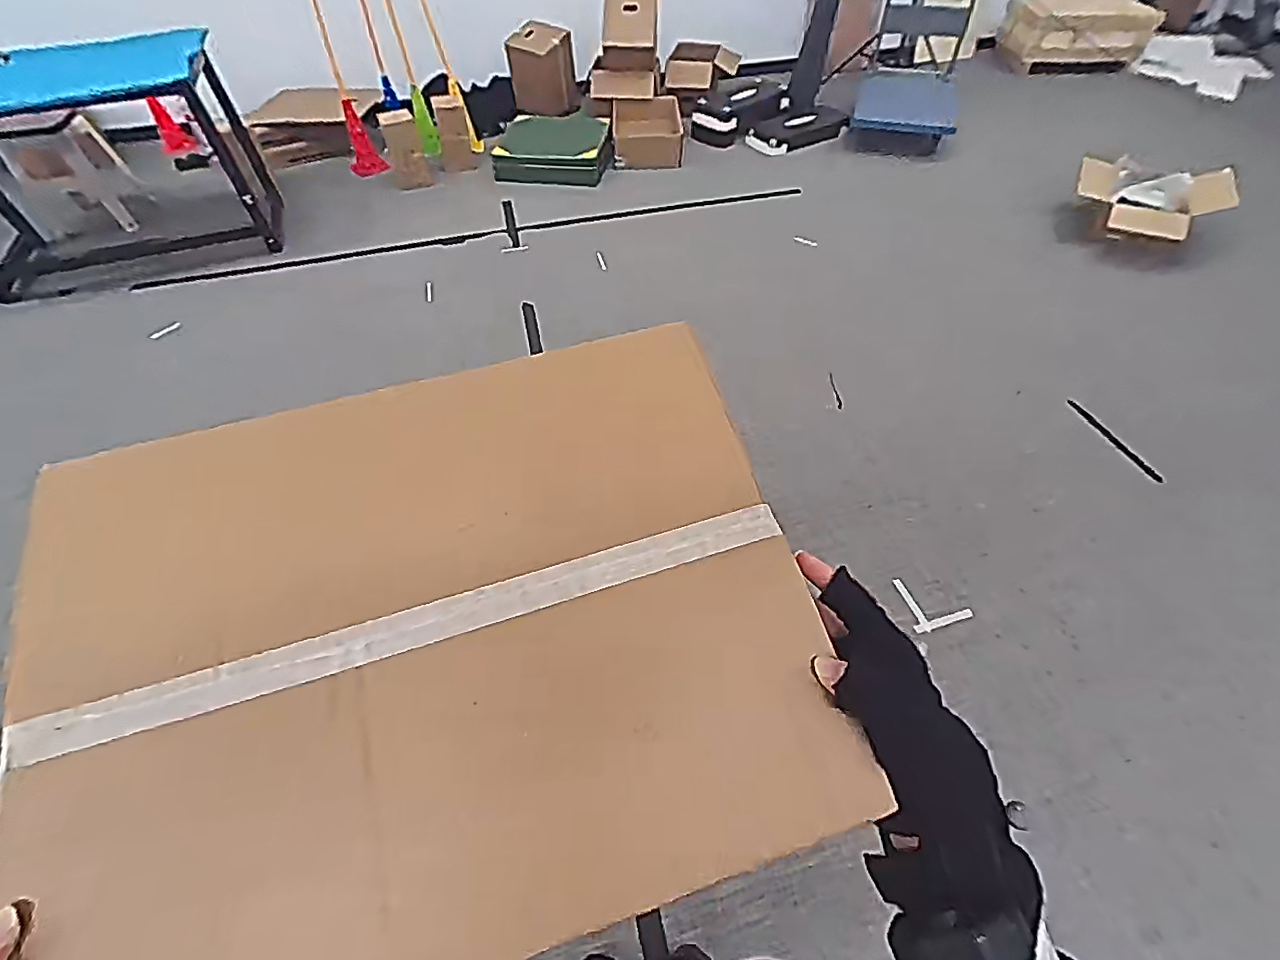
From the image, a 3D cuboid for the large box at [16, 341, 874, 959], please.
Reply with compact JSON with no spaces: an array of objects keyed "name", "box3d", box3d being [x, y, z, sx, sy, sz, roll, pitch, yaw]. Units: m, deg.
[{"name":"large box","box3d":[-0.115,0.145,0.437,0.408,0.320,0.320,-16,68,-8]}]
